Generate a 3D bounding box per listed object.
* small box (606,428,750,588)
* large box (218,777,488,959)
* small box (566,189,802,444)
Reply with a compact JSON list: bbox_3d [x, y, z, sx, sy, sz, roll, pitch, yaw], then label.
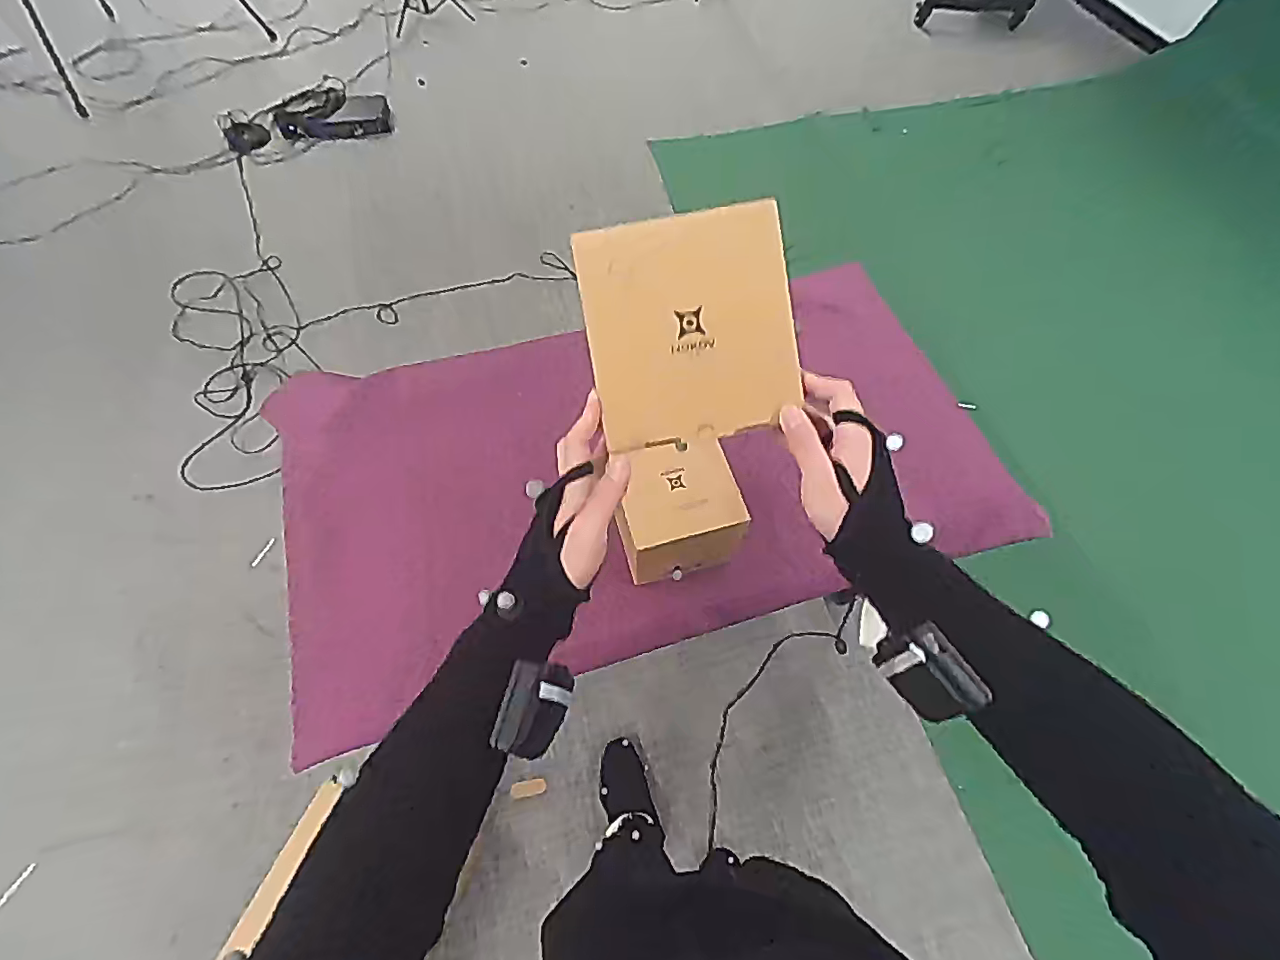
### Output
[{"bbox_3d":[0.047,0.043,0.823,0.168,0.176,0.179,-14,63,-7],"label":"small box"},{"bbox_3d":[-0.573,0.889,1.116,0.320,0.320,0.408,21,63,8],"label":"large box"},{"bbox_3d":[0.034,-0.133,0.500,0.168,0.176,0.179,-10,97,0],"label":"small box"}]
